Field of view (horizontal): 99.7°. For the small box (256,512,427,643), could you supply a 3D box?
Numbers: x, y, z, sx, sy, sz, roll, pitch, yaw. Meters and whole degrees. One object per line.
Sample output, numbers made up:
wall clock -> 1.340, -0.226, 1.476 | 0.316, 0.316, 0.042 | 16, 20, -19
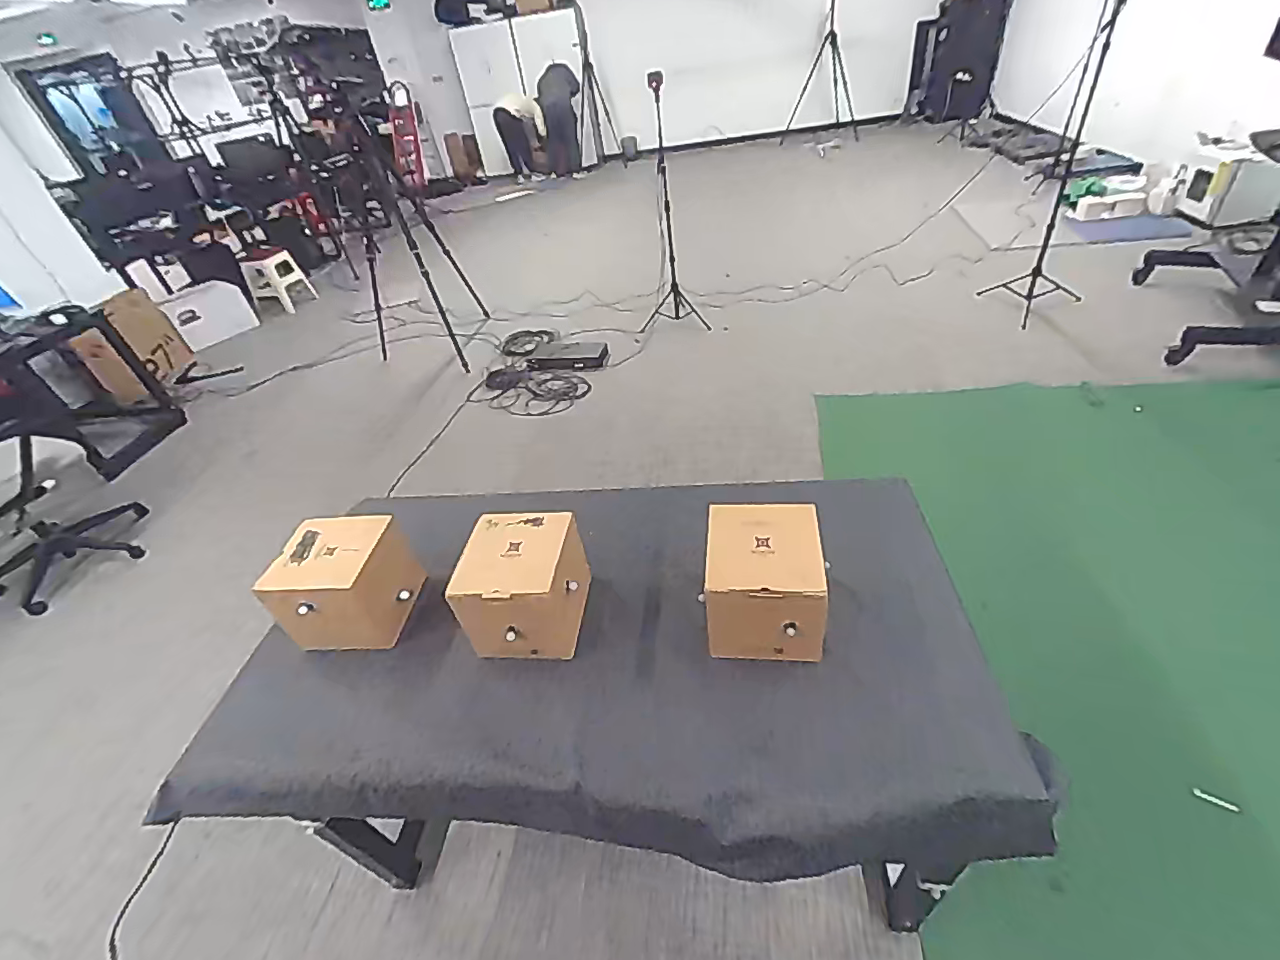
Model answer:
small box -> -0.514, 0.175, 0.962 | 0.179, 0.176, 0.168 | -2, 40, 7

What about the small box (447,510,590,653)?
small box -> -0.188, 0.171, 0.904 | 0.168, 0.176, 0.179 | -2, 40, 10

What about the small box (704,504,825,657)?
small box -> 0.190, 0.157, 0.846 | 0.168, 0.176, 0.179 | 0, 39, 10
